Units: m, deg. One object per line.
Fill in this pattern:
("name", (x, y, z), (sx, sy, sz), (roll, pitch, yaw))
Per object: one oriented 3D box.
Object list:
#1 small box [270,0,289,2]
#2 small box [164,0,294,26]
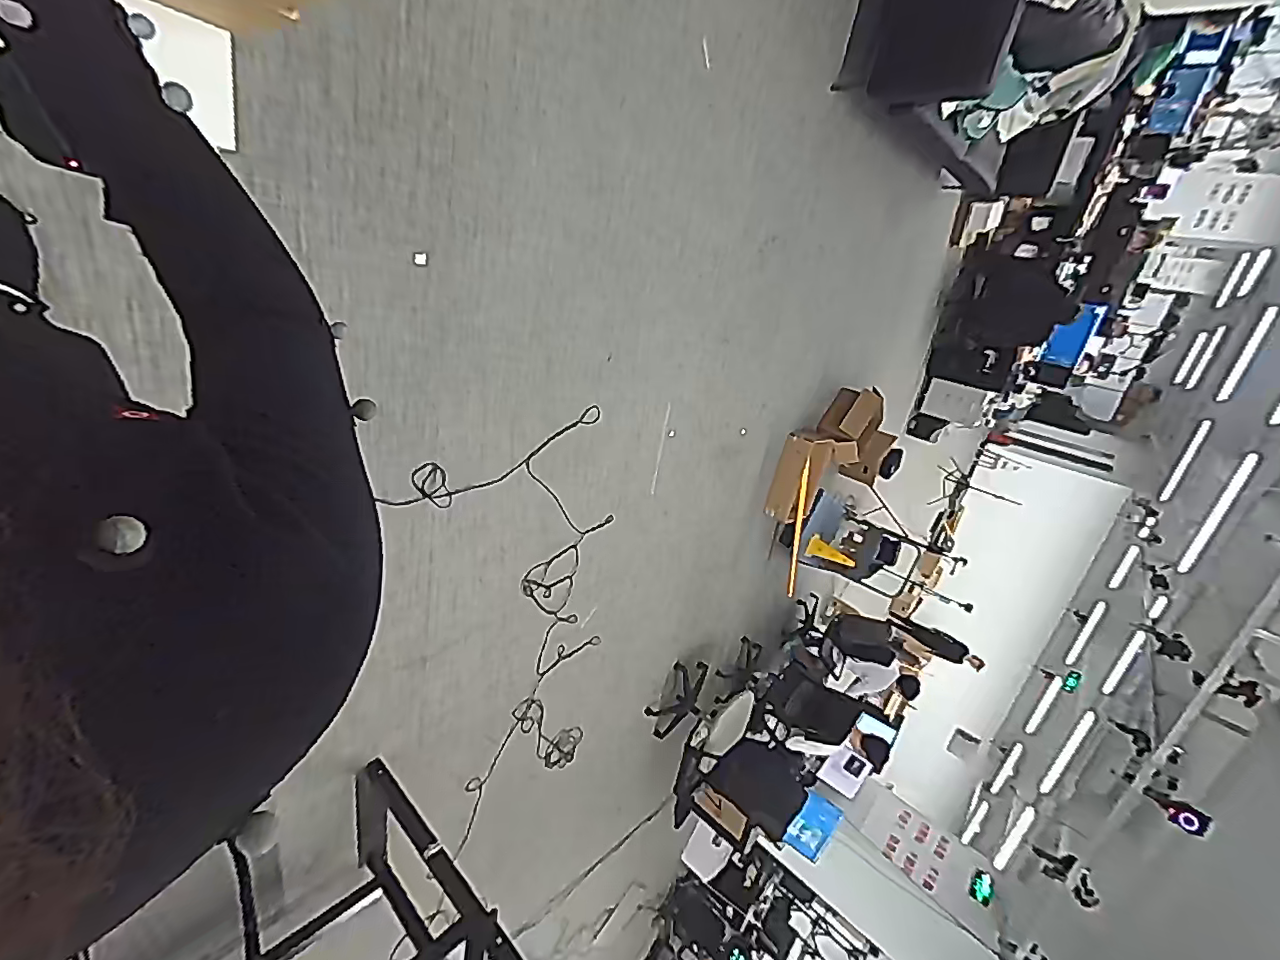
("small box", (-0.334, -0.508, 0.408), (0.168, 0.176, 0.179), (-13, 122, -48))
("small box", (-0.452, -0.566, 0.507), (0.179, 0.176, 0.168), (-11, 120, -49))
